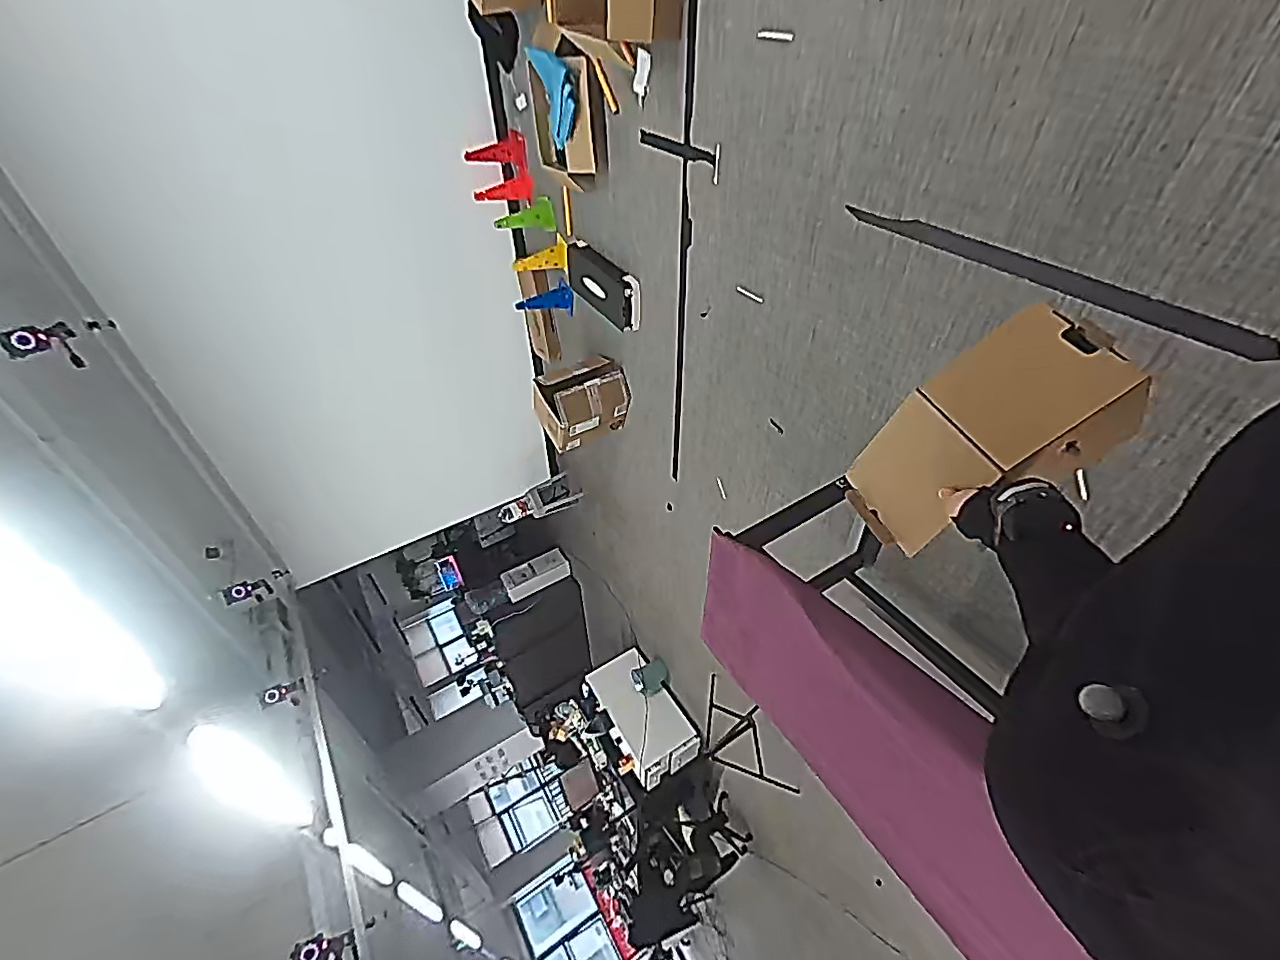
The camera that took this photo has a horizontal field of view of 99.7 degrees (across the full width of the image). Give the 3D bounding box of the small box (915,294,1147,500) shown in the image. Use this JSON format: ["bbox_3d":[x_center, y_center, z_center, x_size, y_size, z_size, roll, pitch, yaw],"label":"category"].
[{"bbox_3d":[0.508,-0.097,0.715,0.176,0.179,0.168,26,-150,-48],"label":"small box"}]
